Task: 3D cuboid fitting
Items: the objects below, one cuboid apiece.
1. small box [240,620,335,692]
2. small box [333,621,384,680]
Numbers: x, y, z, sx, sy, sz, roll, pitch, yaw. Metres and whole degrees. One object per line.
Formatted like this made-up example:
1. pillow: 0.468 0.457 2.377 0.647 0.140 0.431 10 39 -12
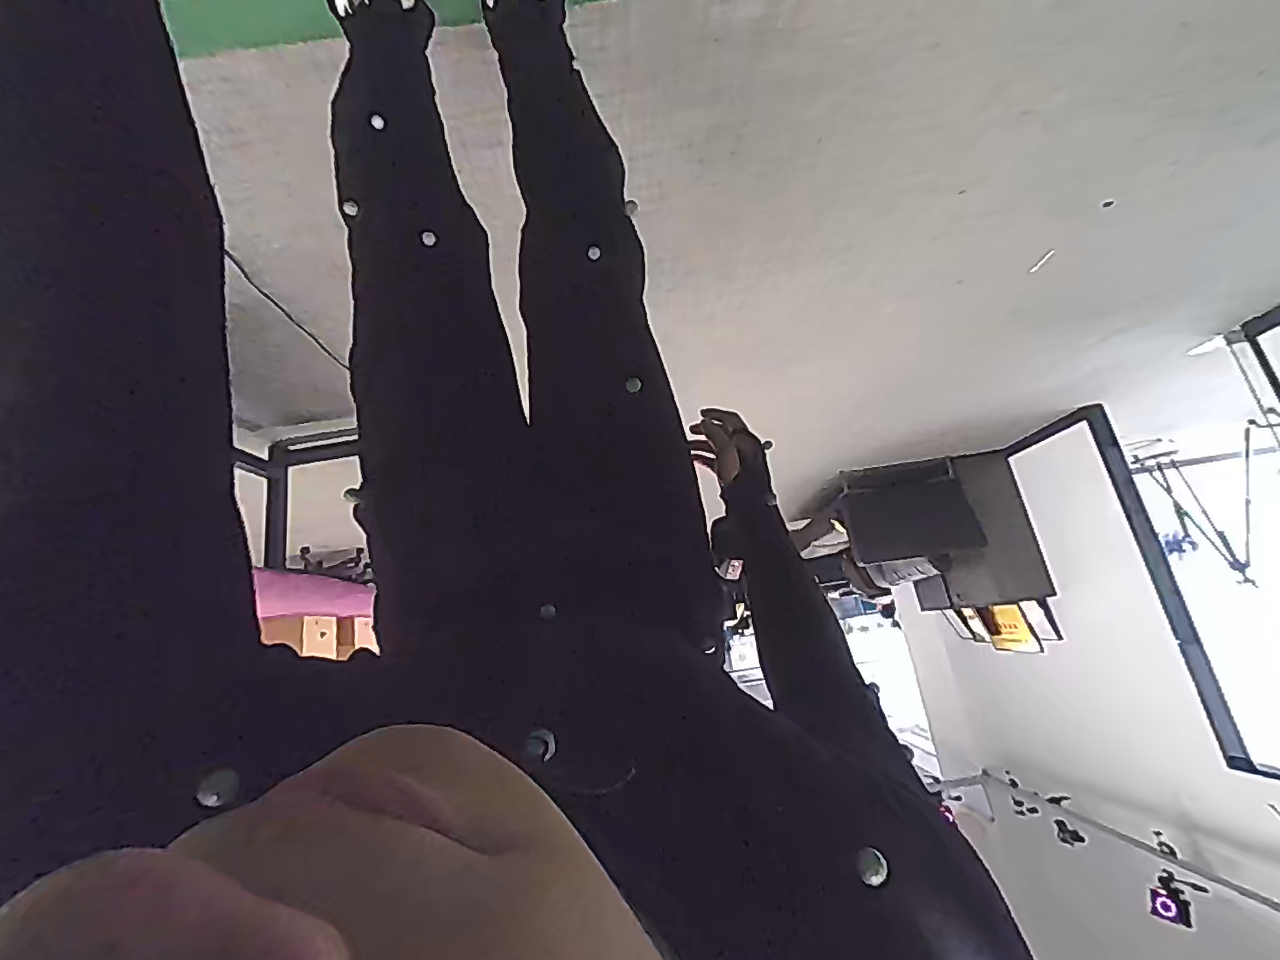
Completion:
1. small box: -1.007 0.506 1.562 0.179 0.176 0.168 -9 164 -1
2. small box: -0.978 0.570 1.801 0.179 0.176 0.168 -11 164 4
